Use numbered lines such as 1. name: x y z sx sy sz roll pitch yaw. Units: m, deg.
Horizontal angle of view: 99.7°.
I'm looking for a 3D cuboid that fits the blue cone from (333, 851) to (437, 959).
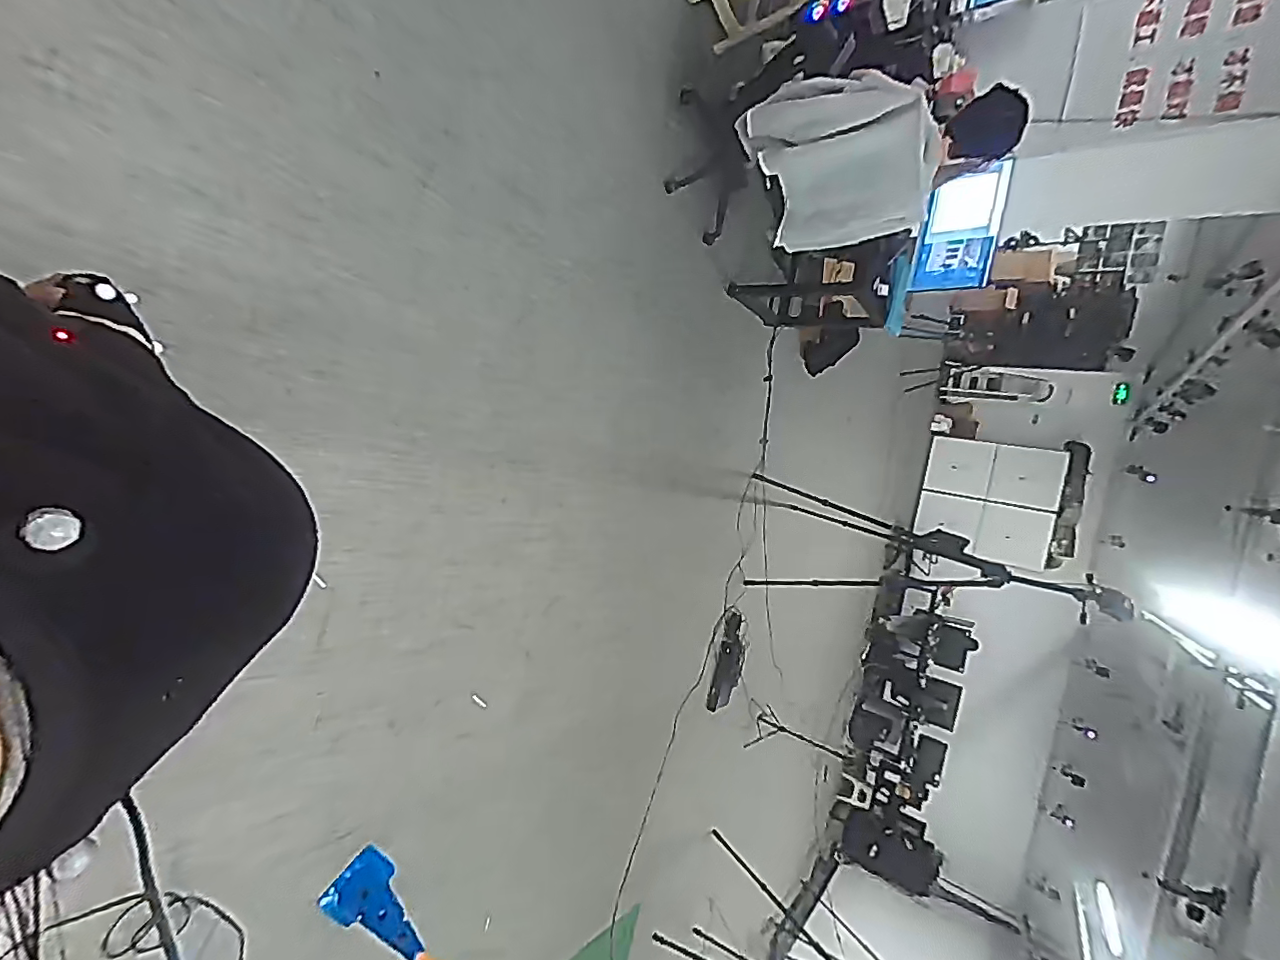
1. blue cone: -0.761 1.366 1.687 0.193 0.380 0.192 -48 134 -38
